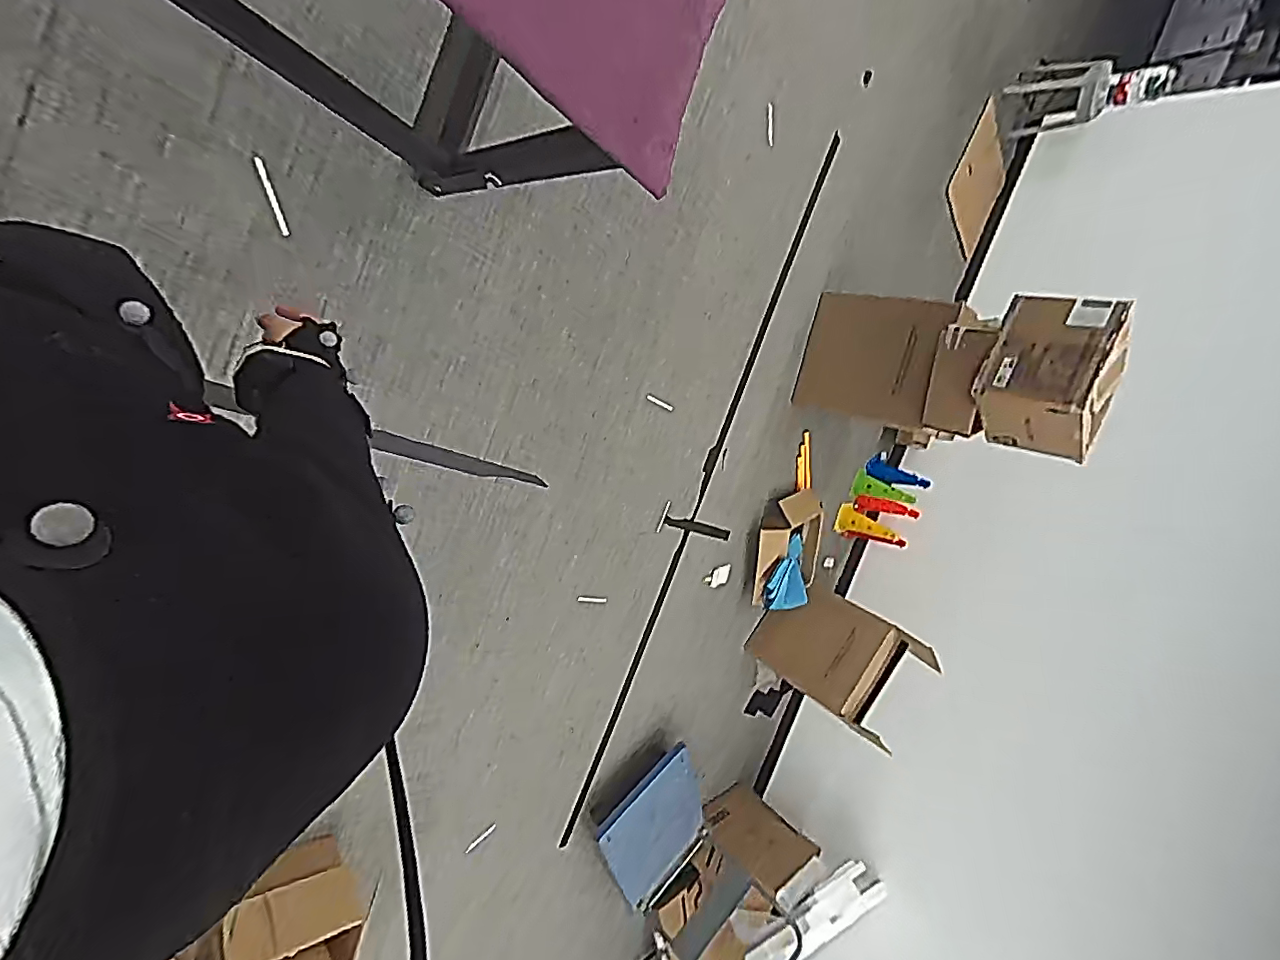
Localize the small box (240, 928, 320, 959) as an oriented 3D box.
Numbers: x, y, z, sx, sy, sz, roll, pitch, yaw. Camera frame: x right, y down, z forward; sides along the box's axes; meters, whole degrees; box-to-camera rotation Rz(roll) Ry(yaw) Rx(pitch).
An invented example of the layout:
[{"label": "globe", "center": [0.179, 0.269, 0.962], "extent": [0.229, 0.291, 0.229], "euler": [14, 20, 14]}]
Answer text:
[{"label": "small box", "center": [-0.915, 1.296, 1.358], "extent": [0.168, 0.176, 0.179], "euler": [15, 96, -49]}]
